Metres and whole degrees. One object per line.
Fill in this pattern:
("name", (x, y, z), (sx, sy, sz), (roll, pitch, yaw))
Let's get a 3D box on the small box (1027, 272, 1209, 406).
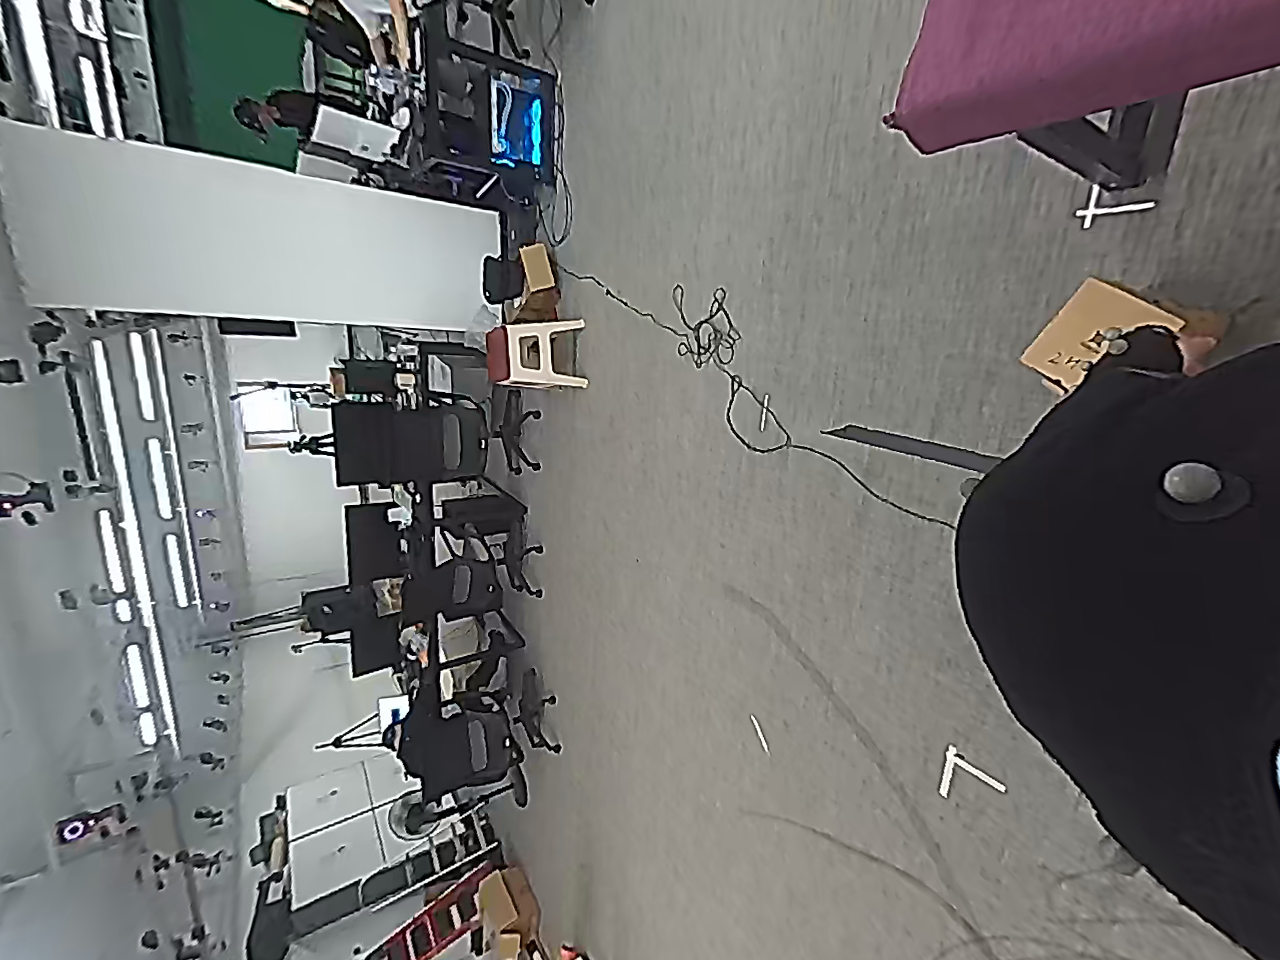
("small box", (0.876, -0.256, 0.991), (0.168, 0.176, 0.179), (55, 139, 35))
